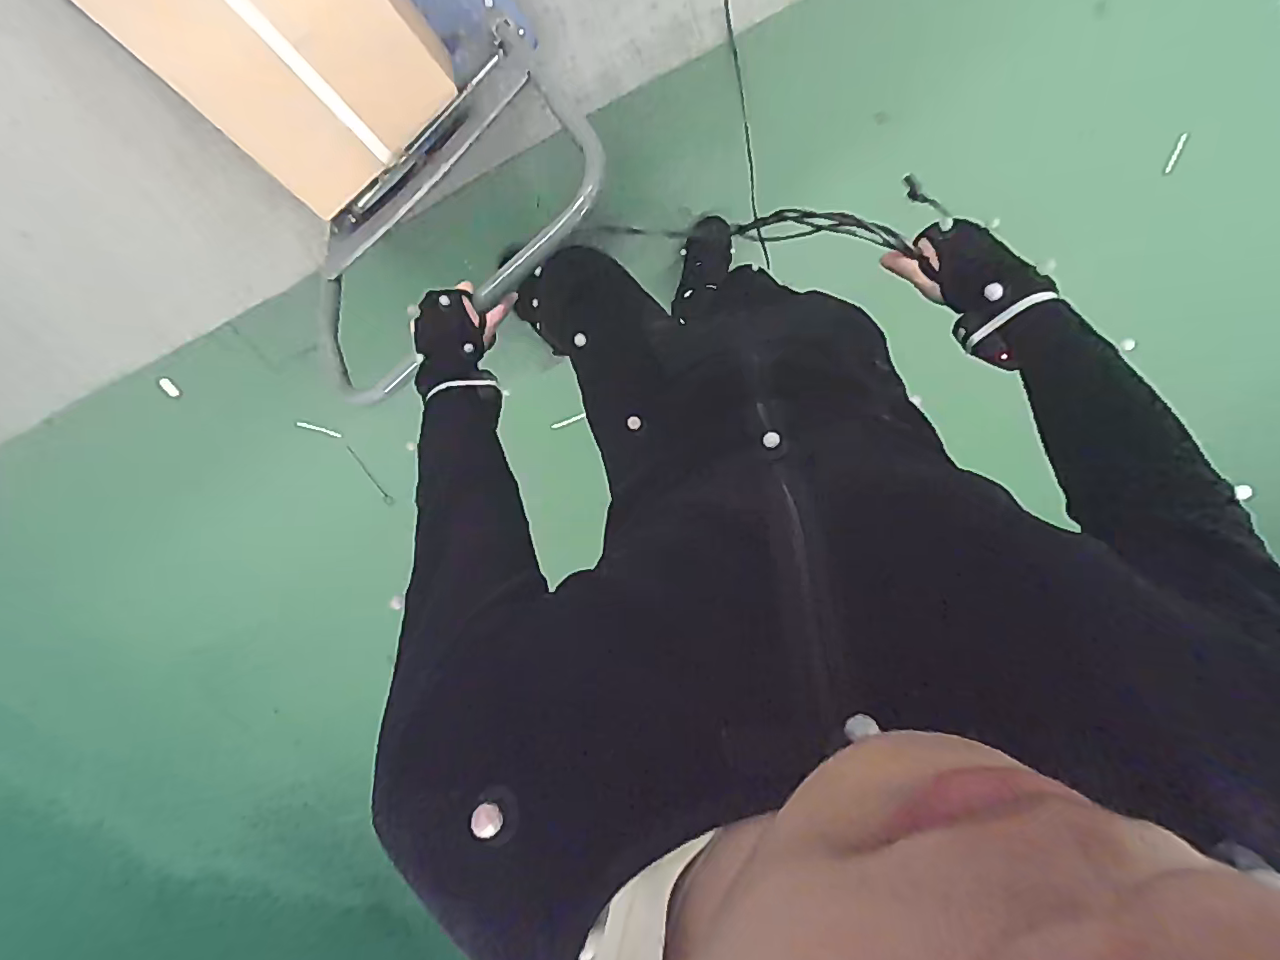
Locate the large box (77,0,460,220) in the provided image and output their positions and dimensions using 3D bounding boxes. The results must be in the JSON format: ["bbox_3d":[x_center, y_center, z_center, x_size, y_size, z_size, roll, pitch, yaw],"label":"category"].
[{"bbox_3d":[-0.543,-0.718,0.851,0.320,0.320,0.408,-34,135,14],"label":"large box"}]
